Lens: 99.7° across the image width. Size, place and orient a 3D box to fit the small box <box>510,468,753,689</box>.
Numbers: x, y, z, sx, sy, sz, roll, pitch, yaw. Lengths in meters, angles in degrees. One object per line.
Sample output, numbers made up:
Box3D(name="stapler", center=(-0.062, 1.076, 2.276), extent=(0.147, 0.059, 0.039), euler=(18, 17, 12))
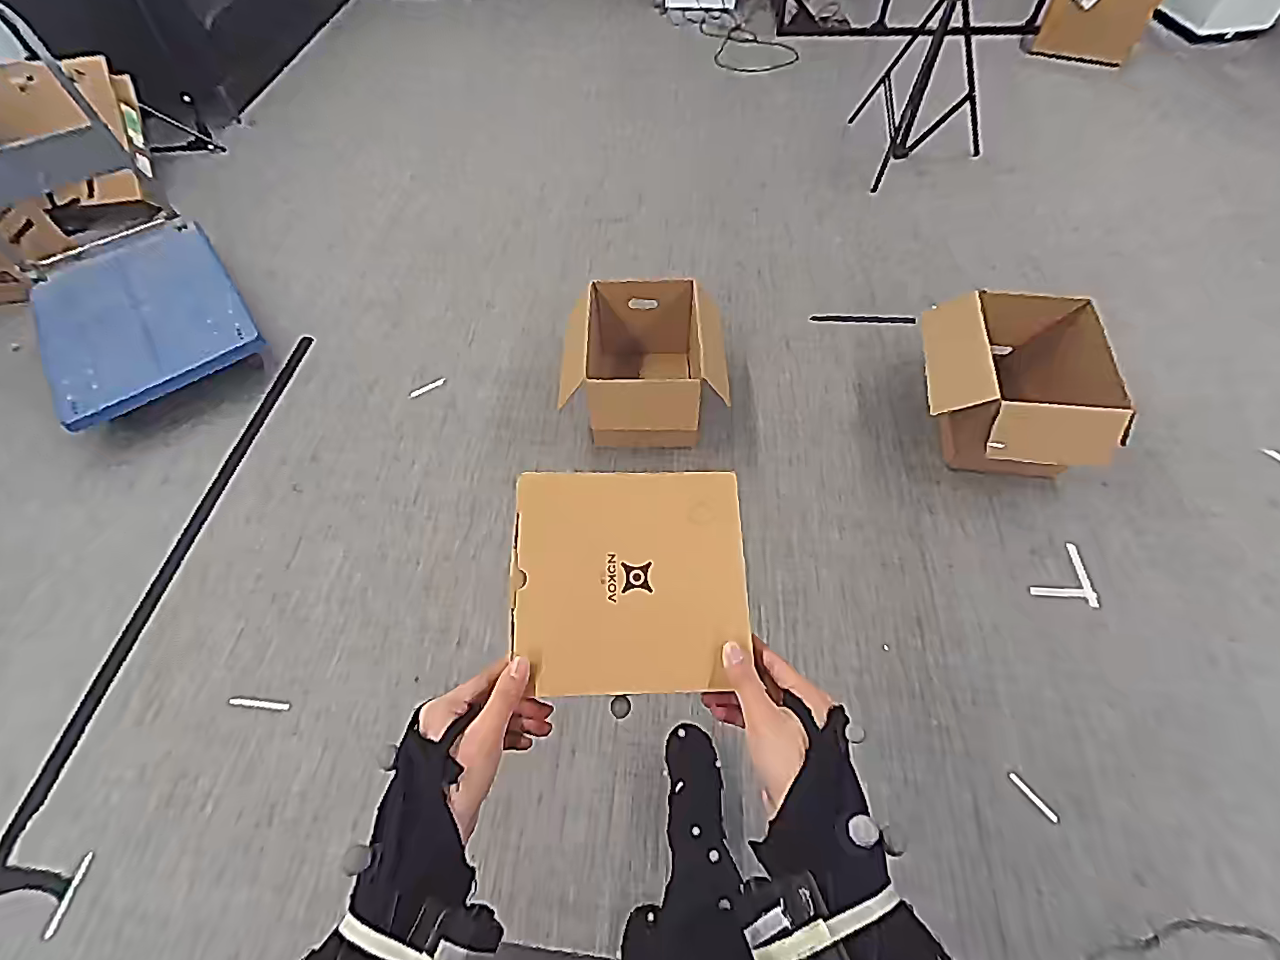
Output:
Box3D(name="small box", center=(-0.010, 0.094, 0.483), extent=(0.179, 0.176, 0.168), euler=(-1, 71, -2))
